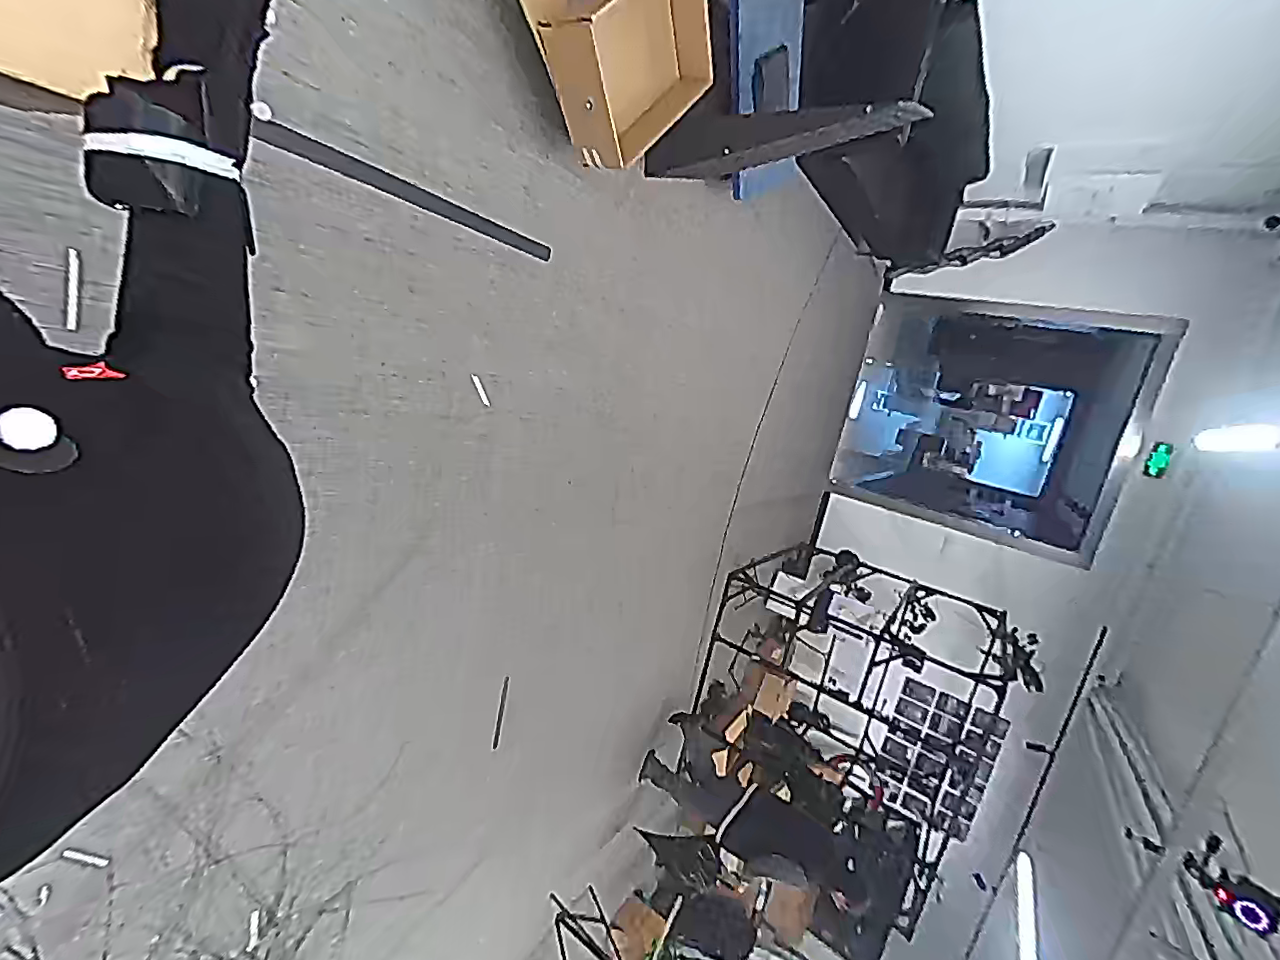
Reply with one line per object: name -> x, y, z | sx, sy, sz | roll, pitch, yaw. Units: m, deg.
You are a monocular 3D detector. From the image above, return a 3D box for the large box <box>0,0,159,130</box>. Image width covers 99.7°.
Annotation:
large box -> -0.532, -0.417, 0.243 | 0.408, 0.320, 0.320 | -11, 121, -59
